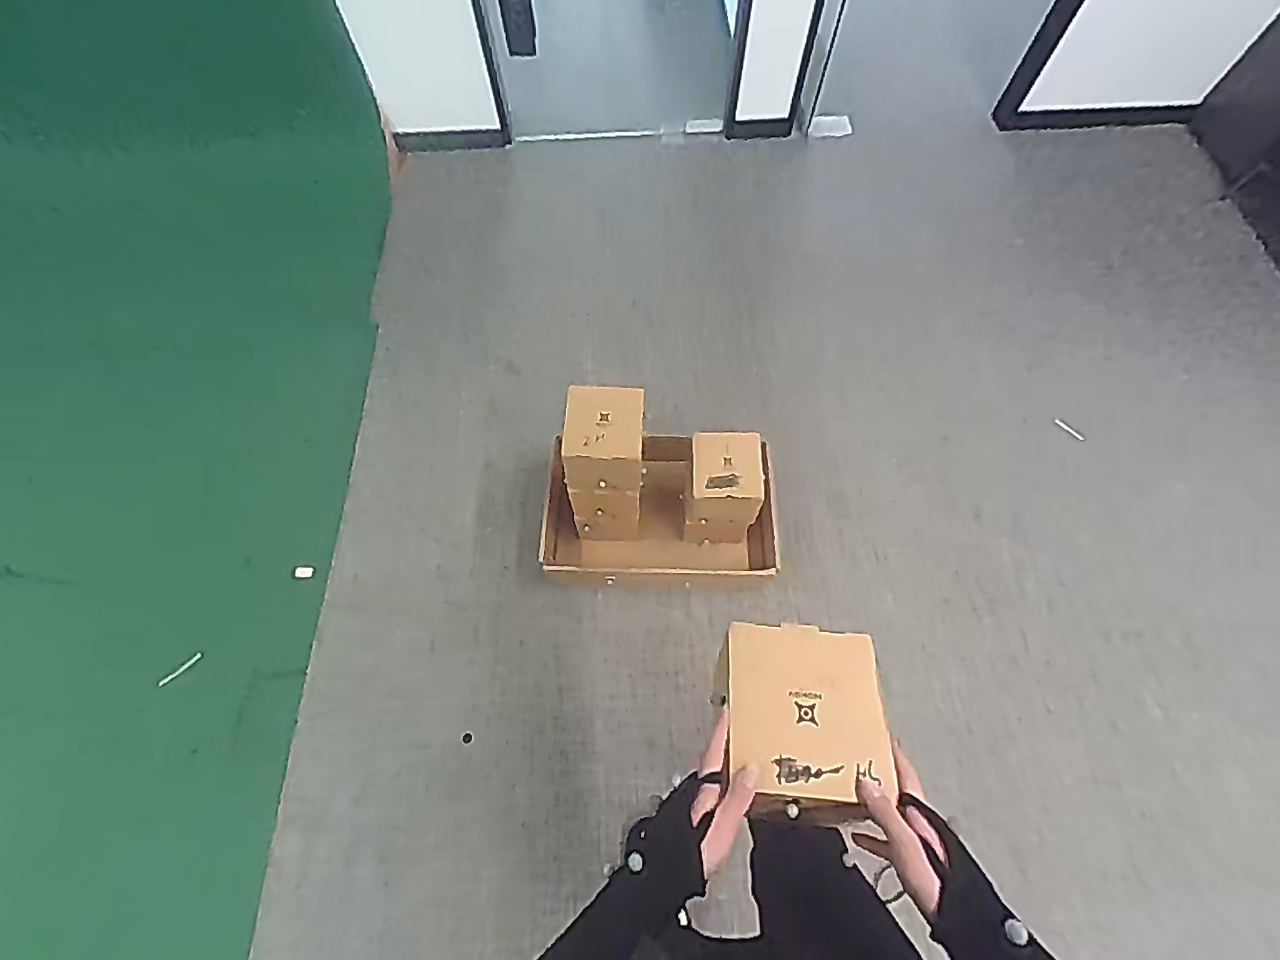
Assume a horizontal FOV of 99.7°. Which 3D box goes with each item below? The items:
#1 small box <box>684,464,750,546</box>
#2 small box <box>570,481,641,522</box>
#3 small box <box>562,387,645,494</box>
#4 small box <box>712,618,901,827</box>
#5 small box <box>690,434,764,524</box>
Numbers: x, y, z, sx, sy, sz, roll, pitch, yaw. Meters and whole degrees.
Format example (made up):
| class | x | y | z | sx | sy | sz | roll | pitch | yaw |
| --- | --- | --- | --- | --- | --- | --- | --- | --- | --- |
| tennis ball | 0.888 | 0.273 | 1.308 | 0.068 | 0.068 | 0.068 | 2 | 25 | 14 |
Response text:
| class | x | y | z | sx | sy | sz | roll | pitch | yaw |
| --- | --- | --- | --- | --- | --- | --- | --- | --- | --- |
| small box | 0.206 | 0.071 | 1.493 | 0.168 | 0.176 | 0.179 | 1 | 66 | 3 |
| small box | -0.080 | -0.009 | 1.355 | 0.168 | 0.176 | 0.179 | 2 | 65 | 1 |
| small box | -0.076 | -0.085 | 1.208 | 0.168 | 0.176 | 0.179 | 3 | 65 | 1 |
| small box | 0.176 | 0.285 | 0.633 | 0.168 | 0.176 | 0.179 | 4 | 51 | 4 |
| small box | 0.211 | 0.001 | 1.344 | 0.168 | 0.176 | 0.179 | 1 | 64 | 3 |
